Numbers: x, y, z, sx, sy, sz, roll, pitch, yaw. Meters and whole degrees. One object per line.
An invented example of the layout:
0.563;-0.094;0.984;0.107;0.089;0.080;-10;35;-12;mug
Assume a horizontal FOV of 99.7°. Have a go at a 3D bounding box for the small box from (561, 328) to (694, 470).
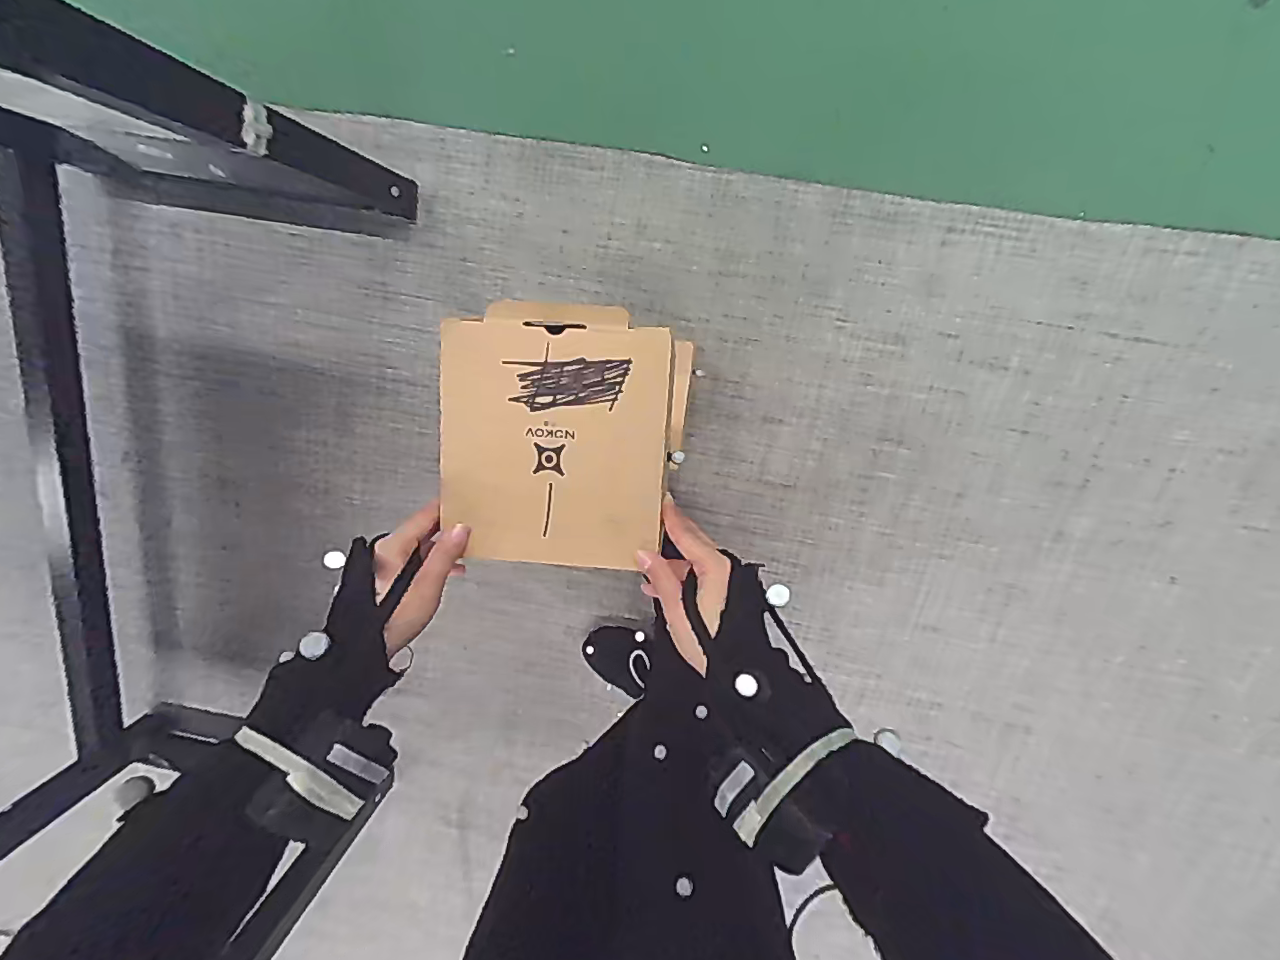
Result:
-0.011;-0.125;0.799;0.168;0.176;0.179;7;105;6;small box
